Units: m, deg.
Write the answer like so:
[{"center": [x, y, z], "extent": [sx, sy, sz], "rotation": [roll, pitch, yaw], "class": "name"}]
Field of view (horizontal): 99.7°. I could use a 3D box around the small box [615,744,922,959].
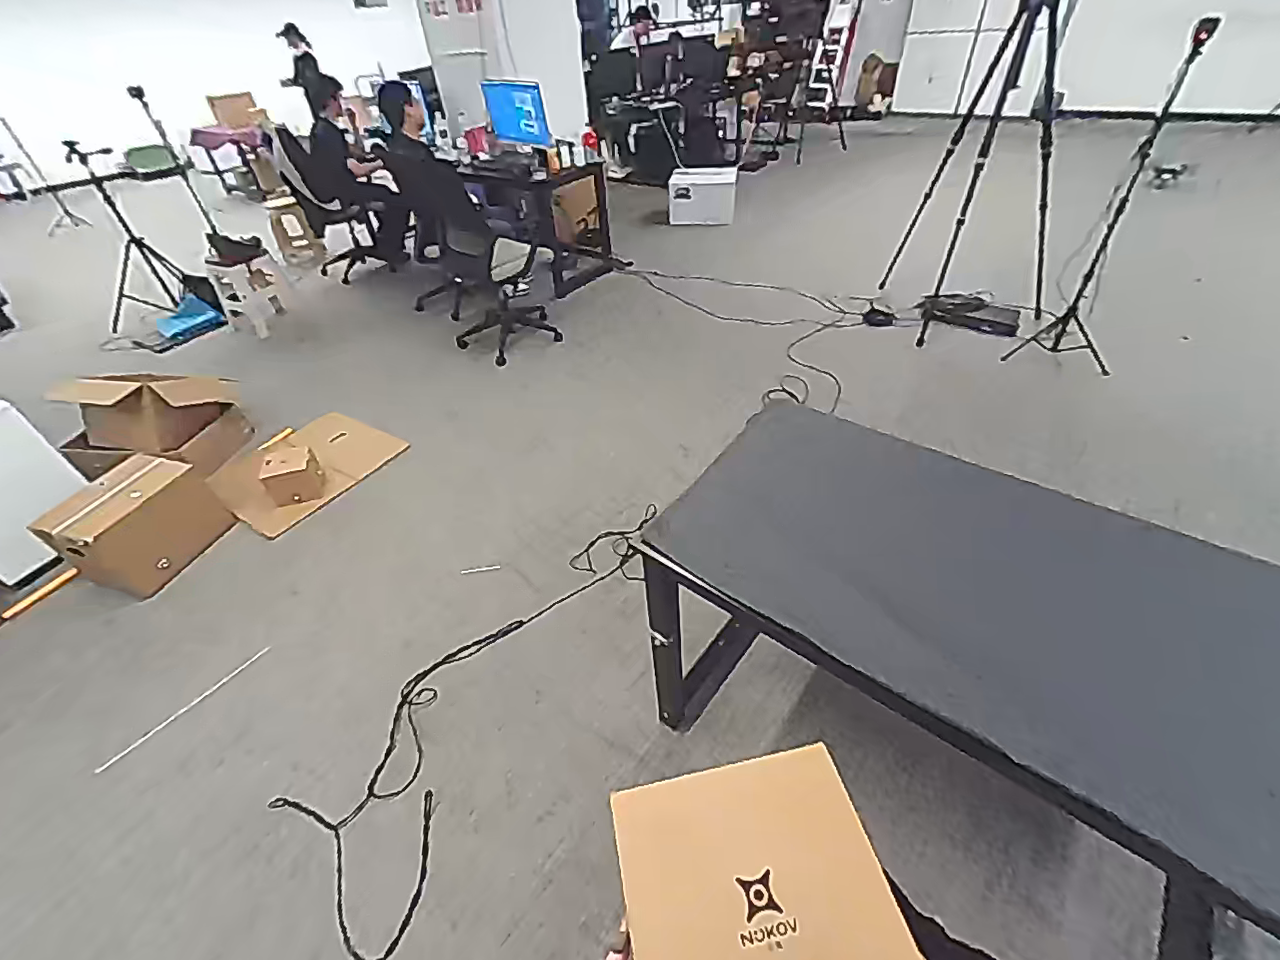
[{"center": [0.080, 0.326, 0.386], "extent": [0.168, 0.176, 0.179], "rotation": [-11, 41, -6], "class": "small box"}]
